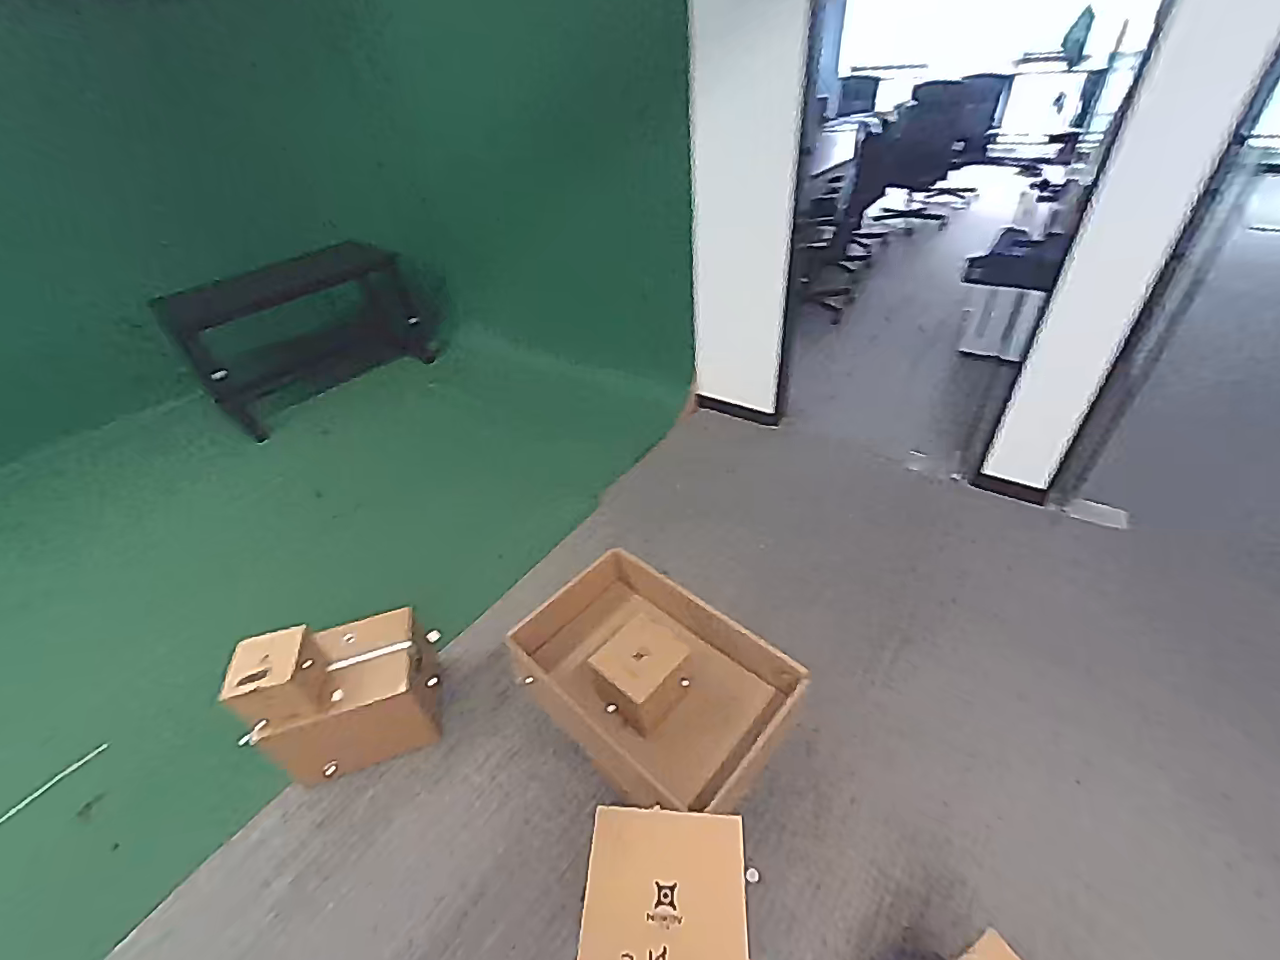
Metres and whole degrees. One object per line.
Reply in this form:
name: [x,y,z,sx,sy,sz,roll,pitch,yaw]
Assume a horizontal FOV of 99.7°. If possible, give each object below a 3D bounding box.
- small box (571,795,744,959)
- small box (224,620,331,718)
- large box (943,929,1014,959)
small box: [0.024,0.481,0.599,0.168,0.176,0.179,1,42,6]
small box: [-0.959,0.513,1.451,0.168,0.176,0.179,-12,40,-9]
large box: [0.641,1.122,0.930,0.320,0.320,0.408,-23,42,-21]
